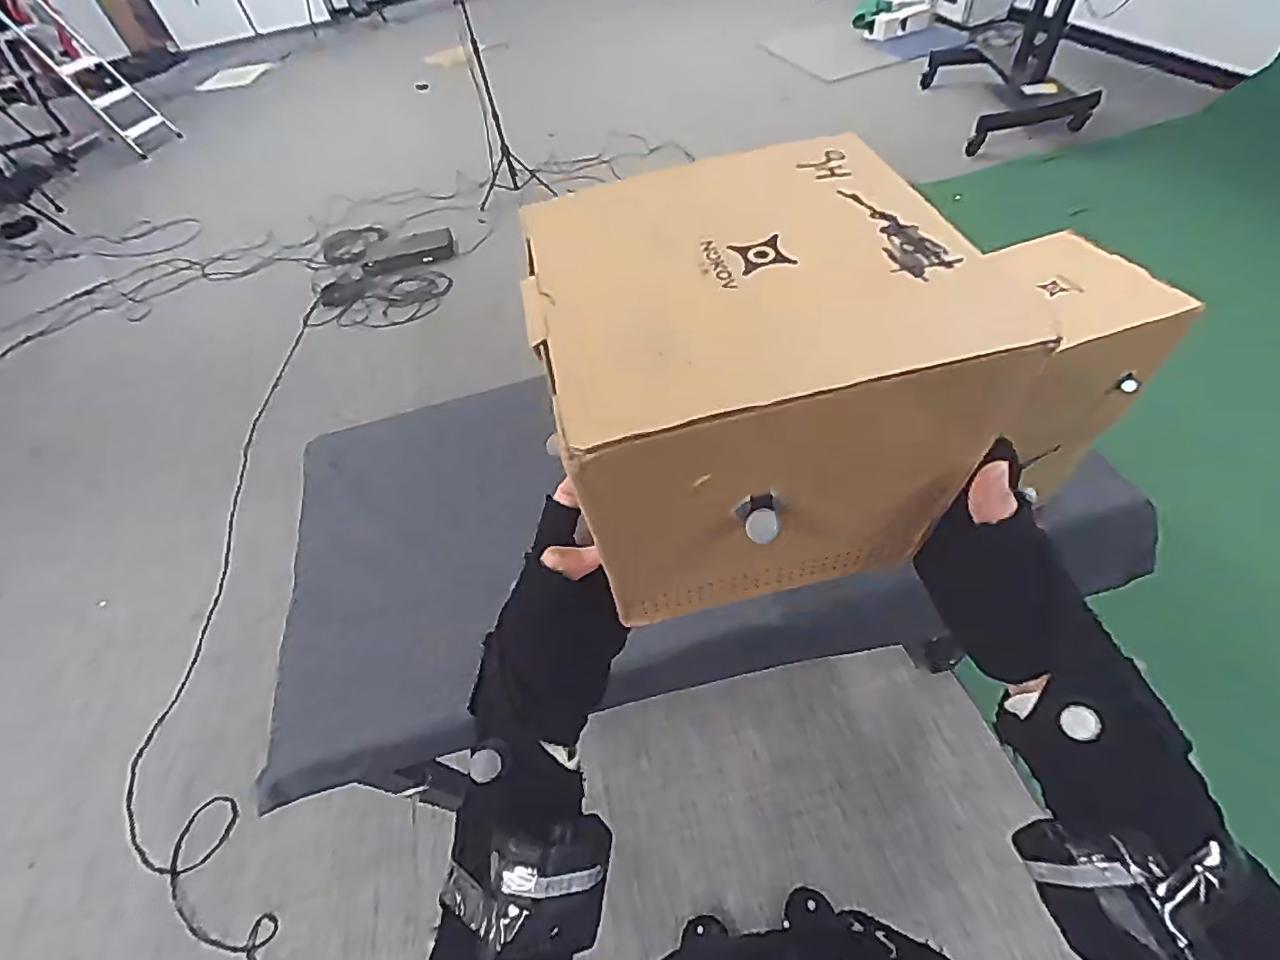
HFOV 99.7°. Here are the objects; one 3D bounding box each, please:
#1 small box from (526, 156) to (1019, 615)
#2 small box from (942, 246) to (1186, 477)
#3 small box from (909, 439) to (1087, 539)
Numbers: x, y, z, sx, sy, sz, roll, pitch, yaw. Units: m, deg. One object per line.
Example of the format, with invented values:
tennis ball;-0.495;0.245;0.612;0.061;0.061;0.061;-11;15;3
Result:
small box;0.050;-0.042;0.304;0.179;0.176;0.168;-14;55;-2
small box;0.430;-0.133;0.620;0.179;0.176;0.168;-19;49;-4
small box;0.449;-0.039;0.751;0.168;0.176;0.179;-19;50;-6
